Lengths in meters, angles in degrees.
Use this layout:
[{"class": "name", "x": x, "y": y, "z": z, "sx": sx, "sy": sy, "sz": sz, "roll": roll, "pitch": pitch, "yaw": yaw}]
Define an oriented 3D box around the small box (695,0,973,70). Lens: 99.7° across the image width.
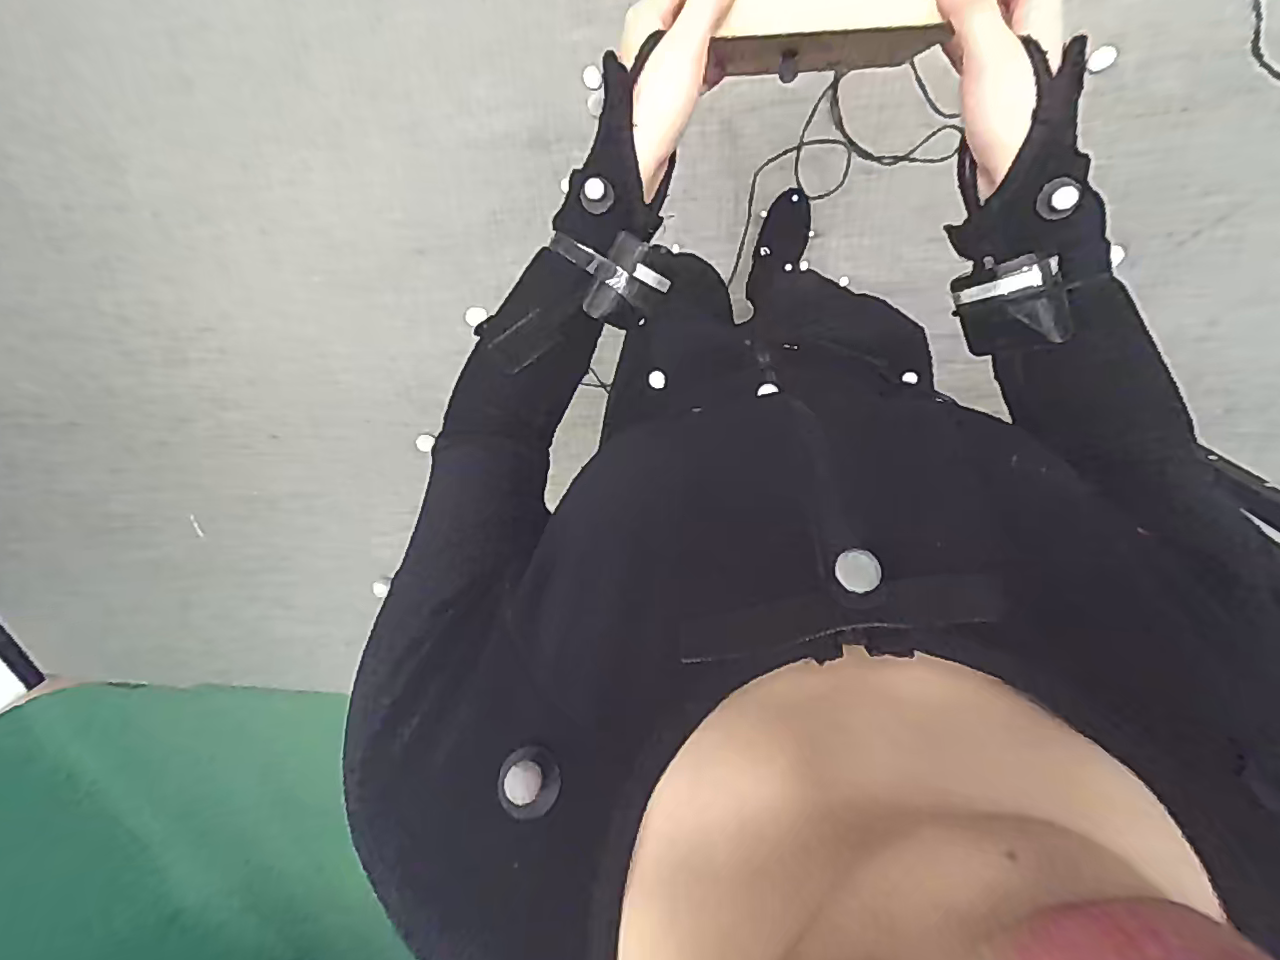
[{"class": "small box", "x": 0.125, "y": -0.392, "z": 0.358, "sx": 0.168, "sy": 0.176, "sz": 0.179, "roll": 2, "pitch": 118, "yaw": 7}]
